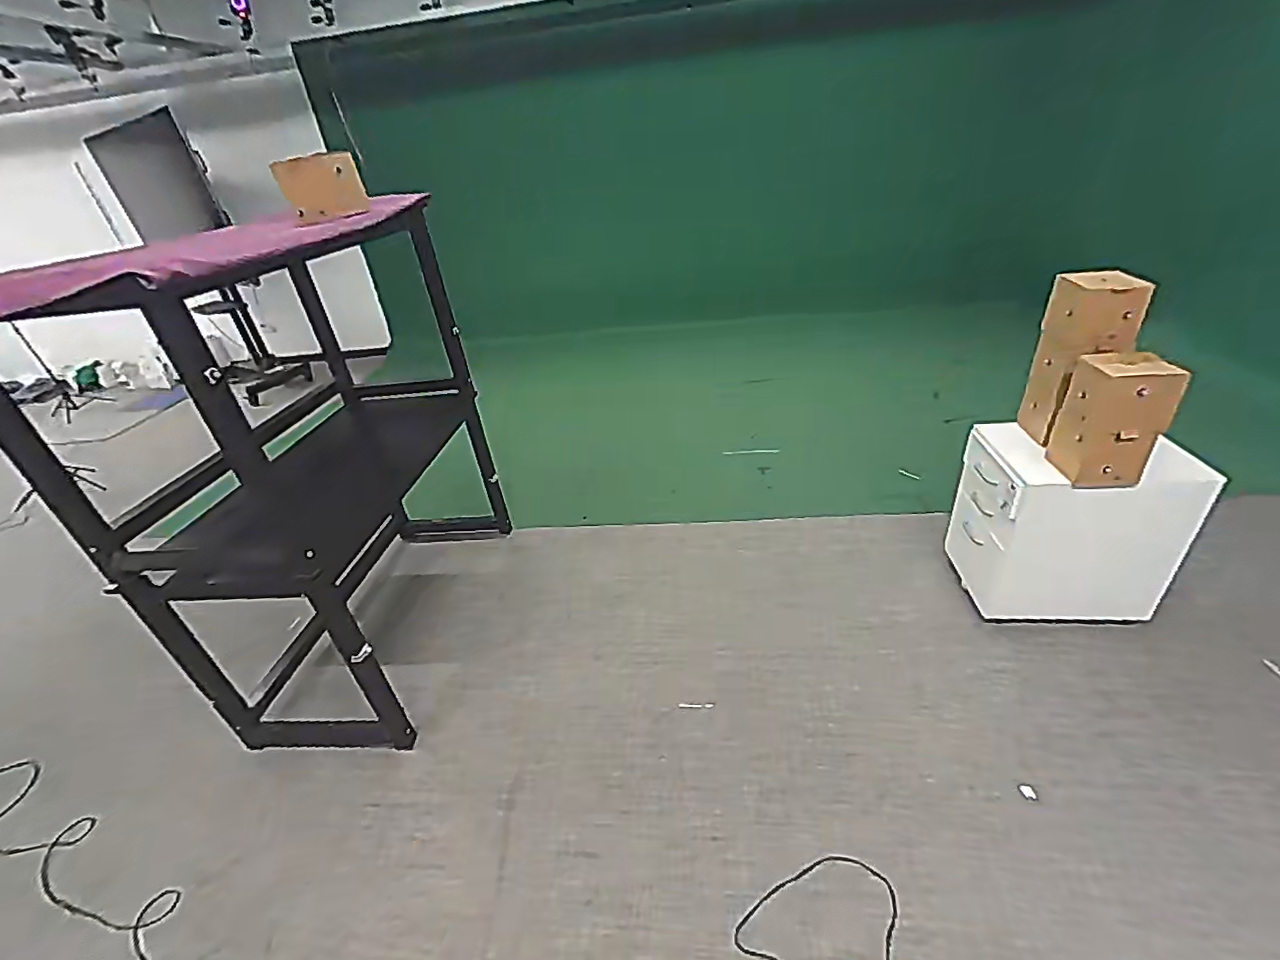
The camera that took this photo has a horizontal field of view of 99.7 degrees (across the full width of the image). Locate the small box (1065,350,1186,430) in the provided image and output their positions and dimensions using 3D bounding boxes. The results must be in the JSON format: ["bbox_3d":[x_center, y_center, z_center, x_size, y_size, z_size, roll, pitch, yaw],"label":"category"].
[{"bbox_3d":[1.301,-0.243,1.471,0.179,0.176,0.168,-1,33,9],"label":"small box"}]

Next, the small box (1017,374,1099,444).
[{"bbox_3d":[1.362,-0.231,1.750,0.168,0.176,0.179,-2,34,8],"label":"small box"}]

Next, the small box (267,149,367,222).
[{"bbox_3d":[-0.971,-0.896,1.649,0.168,0.176,0.179,-4,32,9],"label":"small box"}]

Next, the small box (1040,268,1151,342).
[{"bbox_3d":[1.317,-0.507,1.578,0.168,0.176,0.179,0,33,8],"label":"small box"}]
